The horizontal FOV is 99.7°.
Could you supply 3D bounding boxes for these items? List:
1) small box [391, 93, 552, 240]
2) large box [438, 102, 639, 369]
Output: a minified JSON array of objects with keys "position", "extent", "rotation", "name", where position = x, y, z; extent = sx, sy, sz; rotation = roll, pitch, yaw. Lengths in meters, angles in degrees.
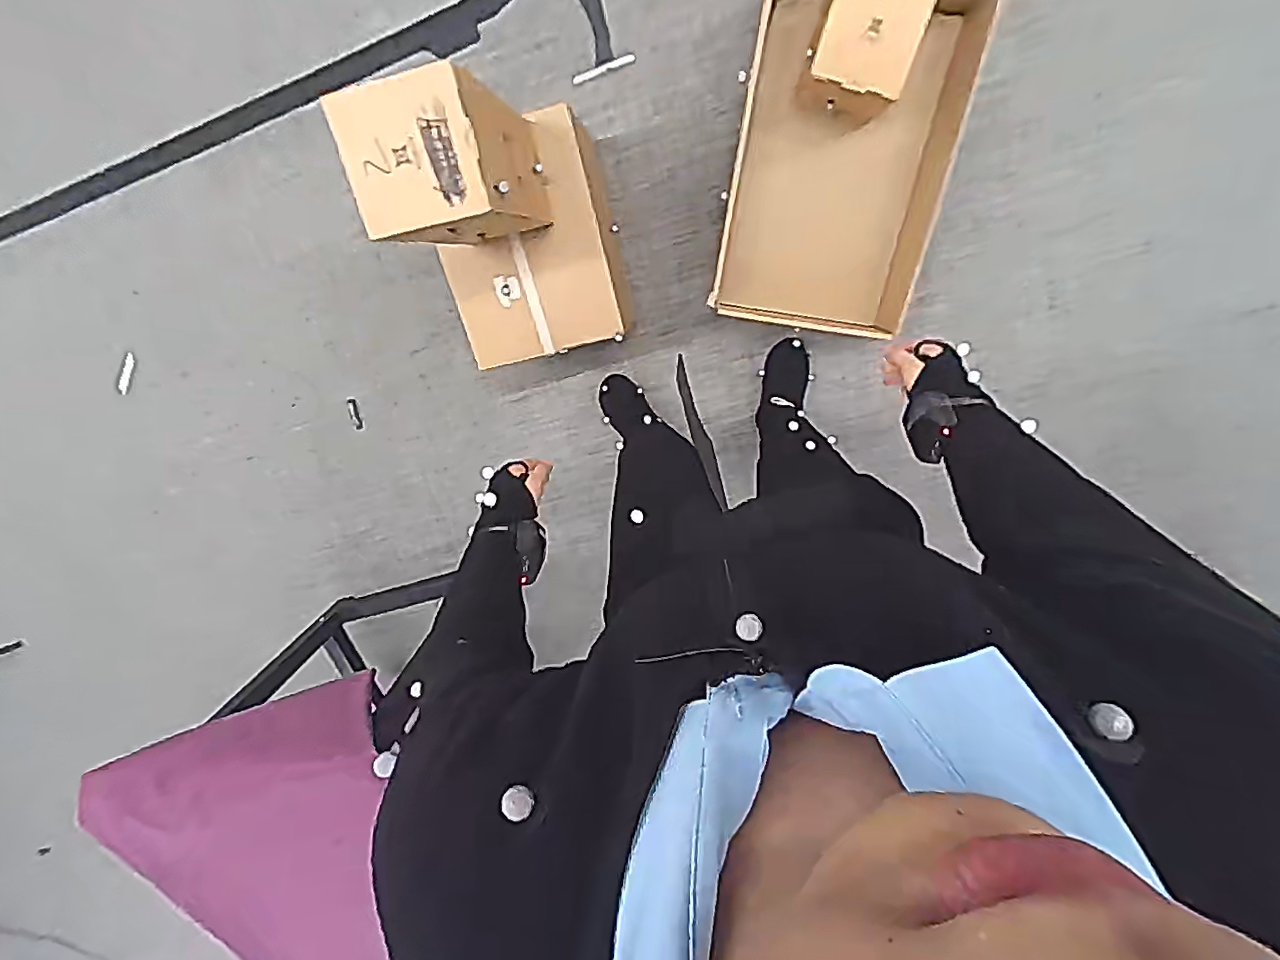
[{"position":[-0.263,-0.498,0.888],"extent":[0.179,0.176,0.168],"rotation":[-9,112,9],"name":"small box"},{"position":[-0.208,-0.494,1.151],"extent":[0.320,0.320,0.408],"rotation":[-12,111,11],"name":"large box"}]
